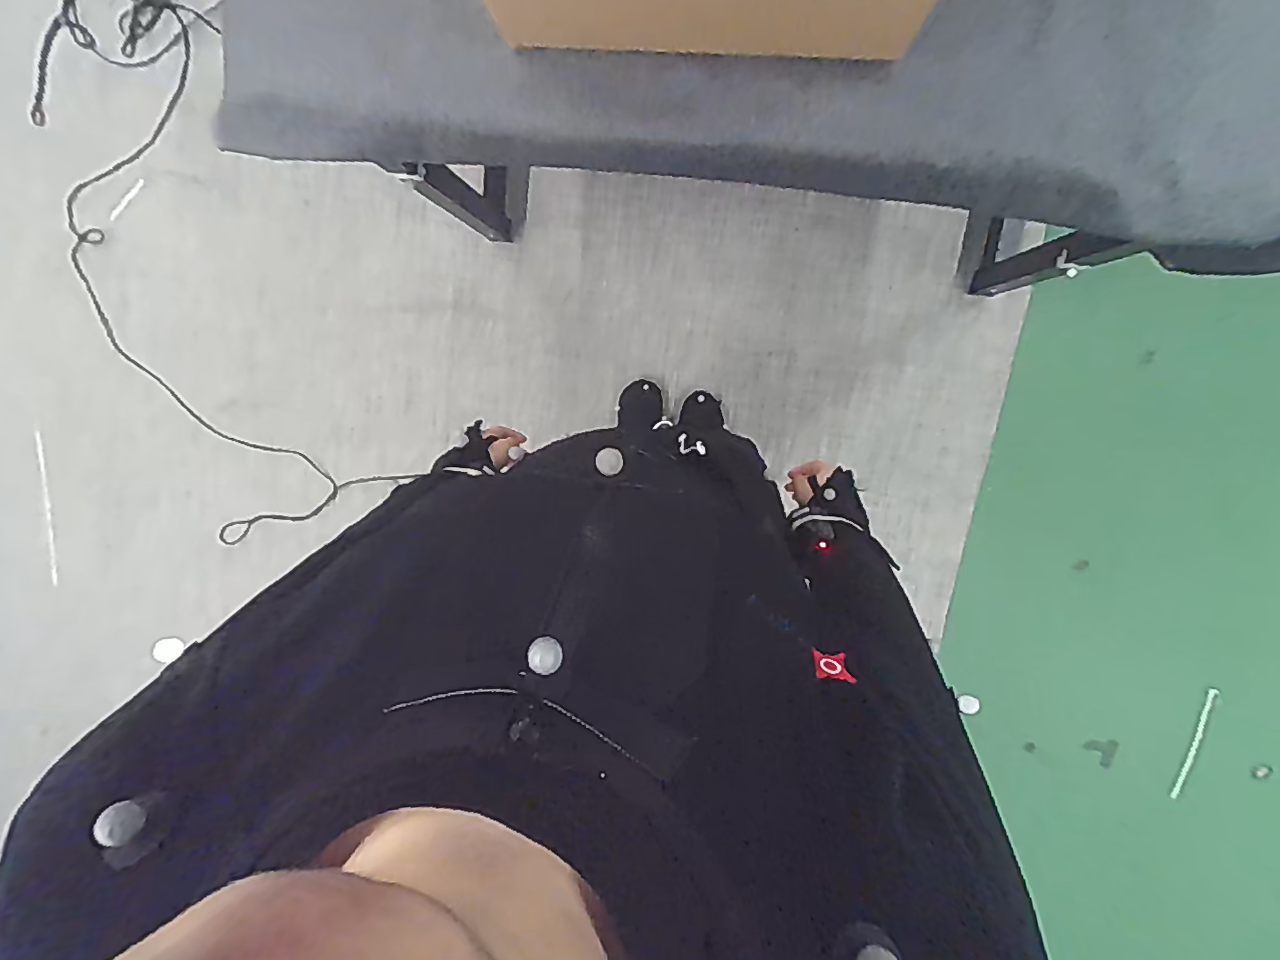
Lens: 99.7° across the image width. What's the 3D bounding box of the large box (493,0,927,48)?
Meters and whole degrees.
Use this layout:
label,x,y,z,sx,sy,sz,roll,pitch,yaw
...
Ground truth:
label,x,y,z,sx,sy,sz,roll,pitch,yaw
large box,0.059,-0.564,0.379,0.408,0.320,0.320,5,101,3
